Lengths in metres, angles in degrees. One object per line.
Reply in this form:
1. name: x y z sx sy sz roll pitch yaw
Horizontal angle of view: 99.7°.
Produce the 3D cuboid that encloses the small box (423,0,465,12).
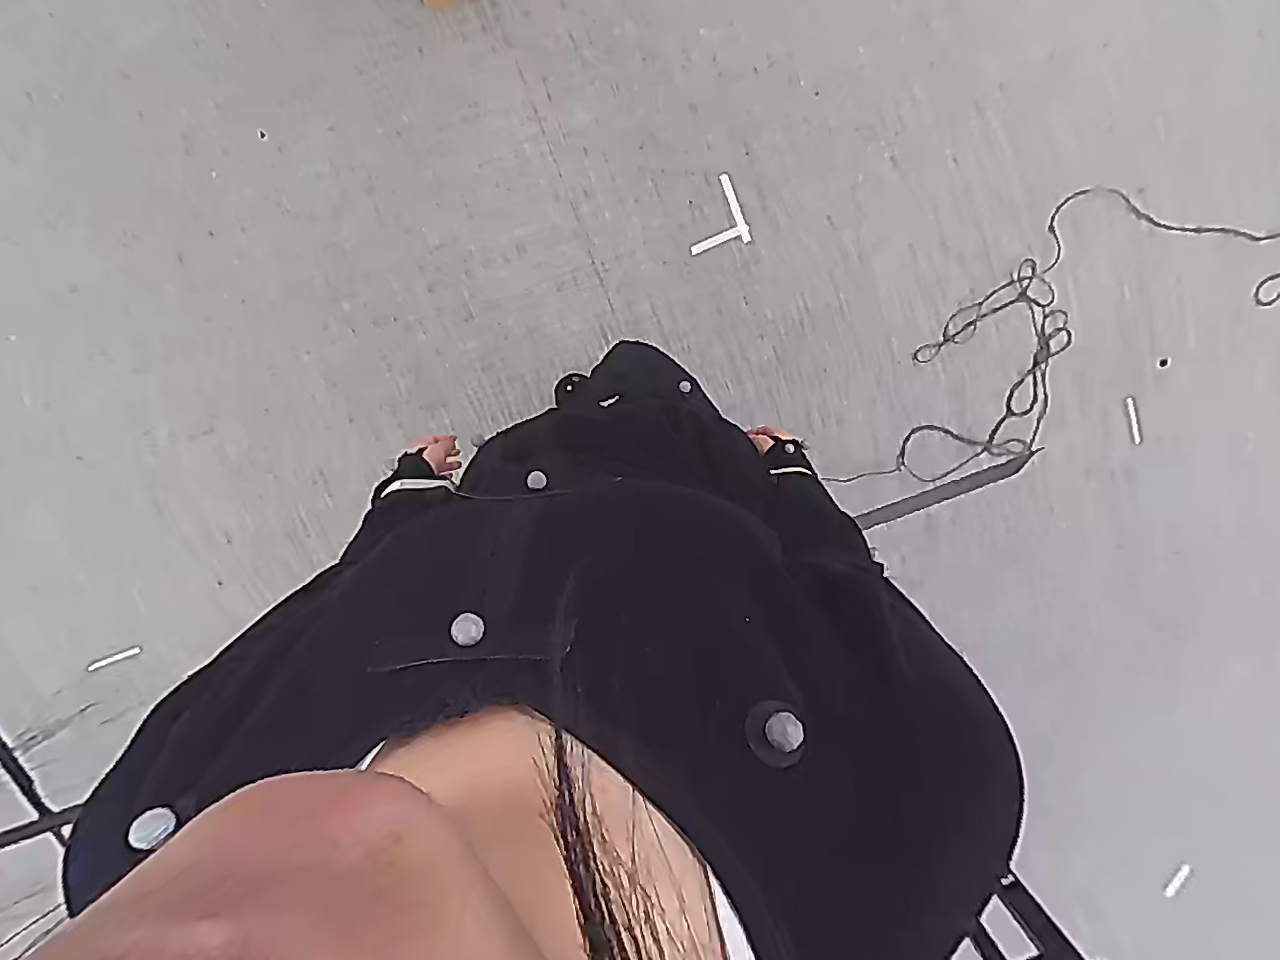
1. small box: -0.436 -1.181 1.172 0.179 0.176 0.168 -21 101 1
